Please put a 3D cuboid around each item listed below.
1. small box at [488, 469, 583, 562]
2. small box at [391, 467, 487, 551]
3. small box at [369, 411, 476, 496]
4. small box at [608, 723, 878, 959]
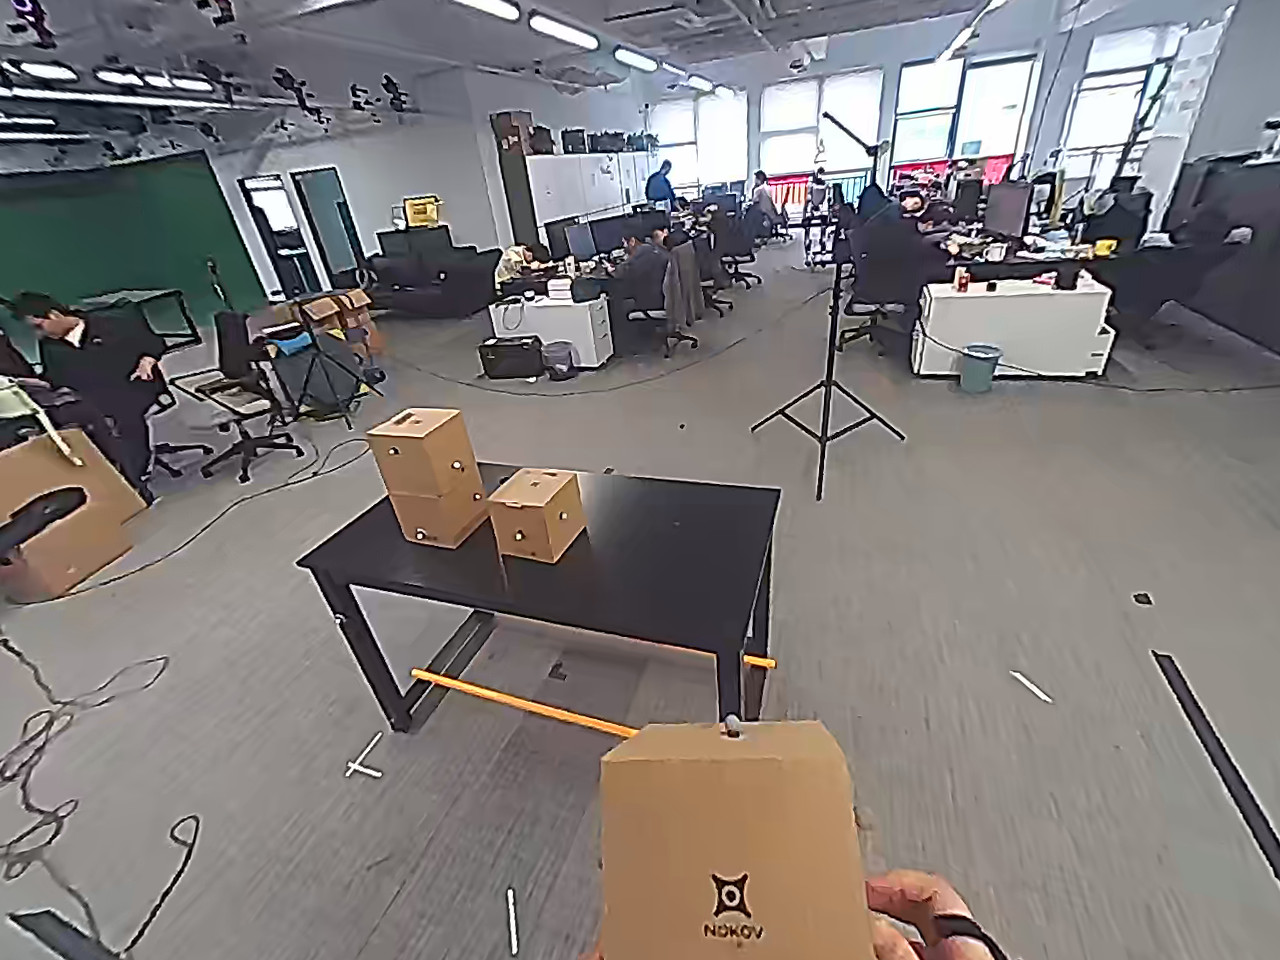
[{"bbox_3d":[-0.262,0.091,1.404,0.168,0.176,0.179,6,32,21],"label":"small box"},{"bbox_3d":[-0.544,0.071,1.499,0.168,0.176,0.179,4,32,20],"label":"small box"},{"bbox_3d":[-0.561,-0.071,1.417,0.179,0.176,0.168,5,31,19],"label":"small box"},{"bbox_3d":[0.075,0.288,0.415,0.168,0.176,0.179,-6,72,10],"label":"small box"}]
